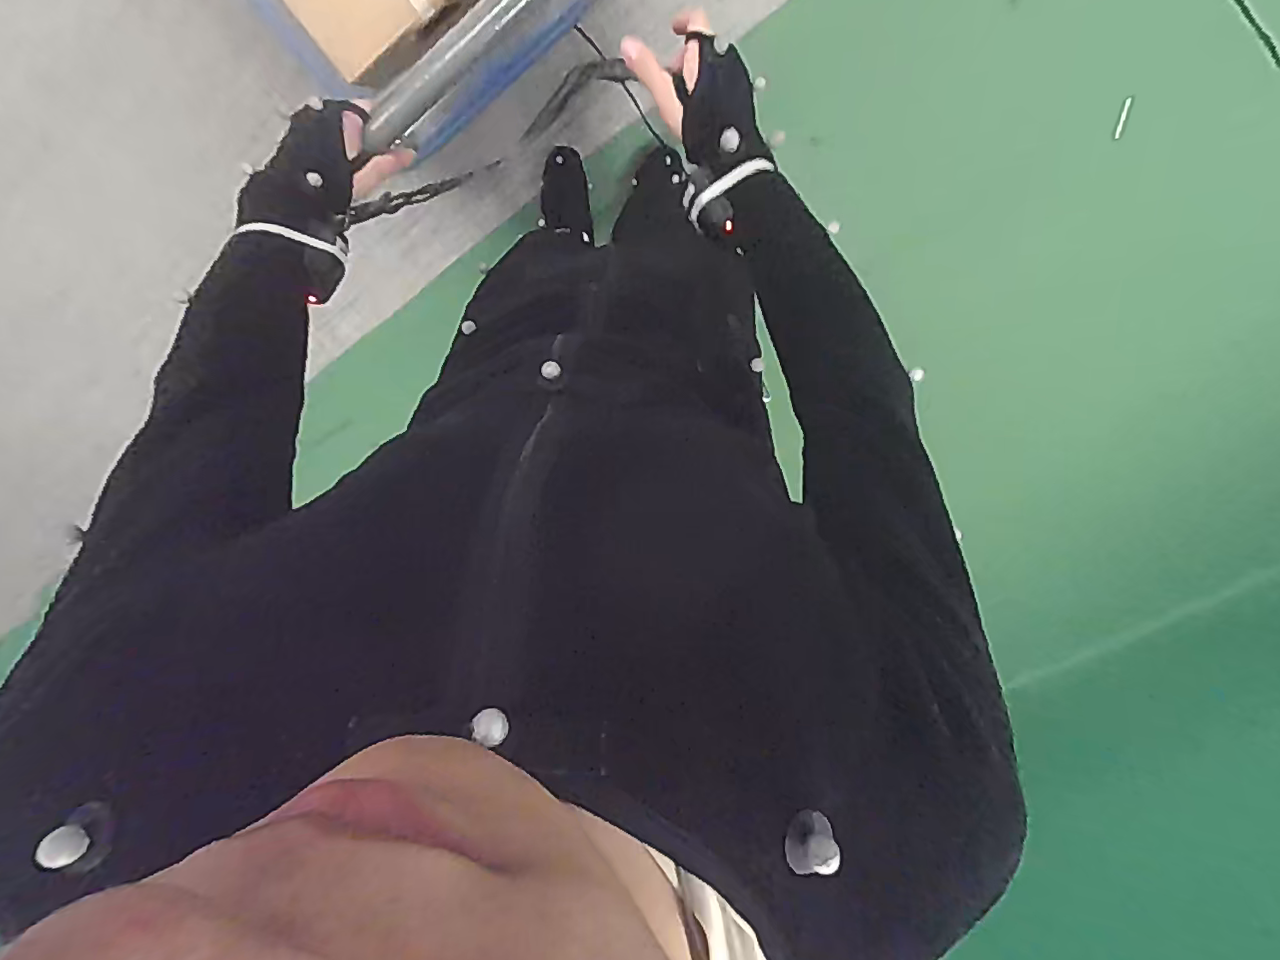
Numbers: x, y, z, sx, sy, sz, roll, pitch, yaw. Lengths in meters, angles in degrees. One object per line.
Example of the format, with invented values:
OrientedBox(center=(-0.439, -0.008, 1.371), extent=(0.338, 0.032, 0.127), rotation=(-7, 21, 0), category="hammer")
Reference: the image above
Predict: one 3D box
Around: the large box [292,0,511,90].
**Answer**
OrientedBox(center=(-0.420, -0.891, 0.812), extent=(0.320, 0.320, 0.408), rotation=(-31, 121, 13), category="large box")
